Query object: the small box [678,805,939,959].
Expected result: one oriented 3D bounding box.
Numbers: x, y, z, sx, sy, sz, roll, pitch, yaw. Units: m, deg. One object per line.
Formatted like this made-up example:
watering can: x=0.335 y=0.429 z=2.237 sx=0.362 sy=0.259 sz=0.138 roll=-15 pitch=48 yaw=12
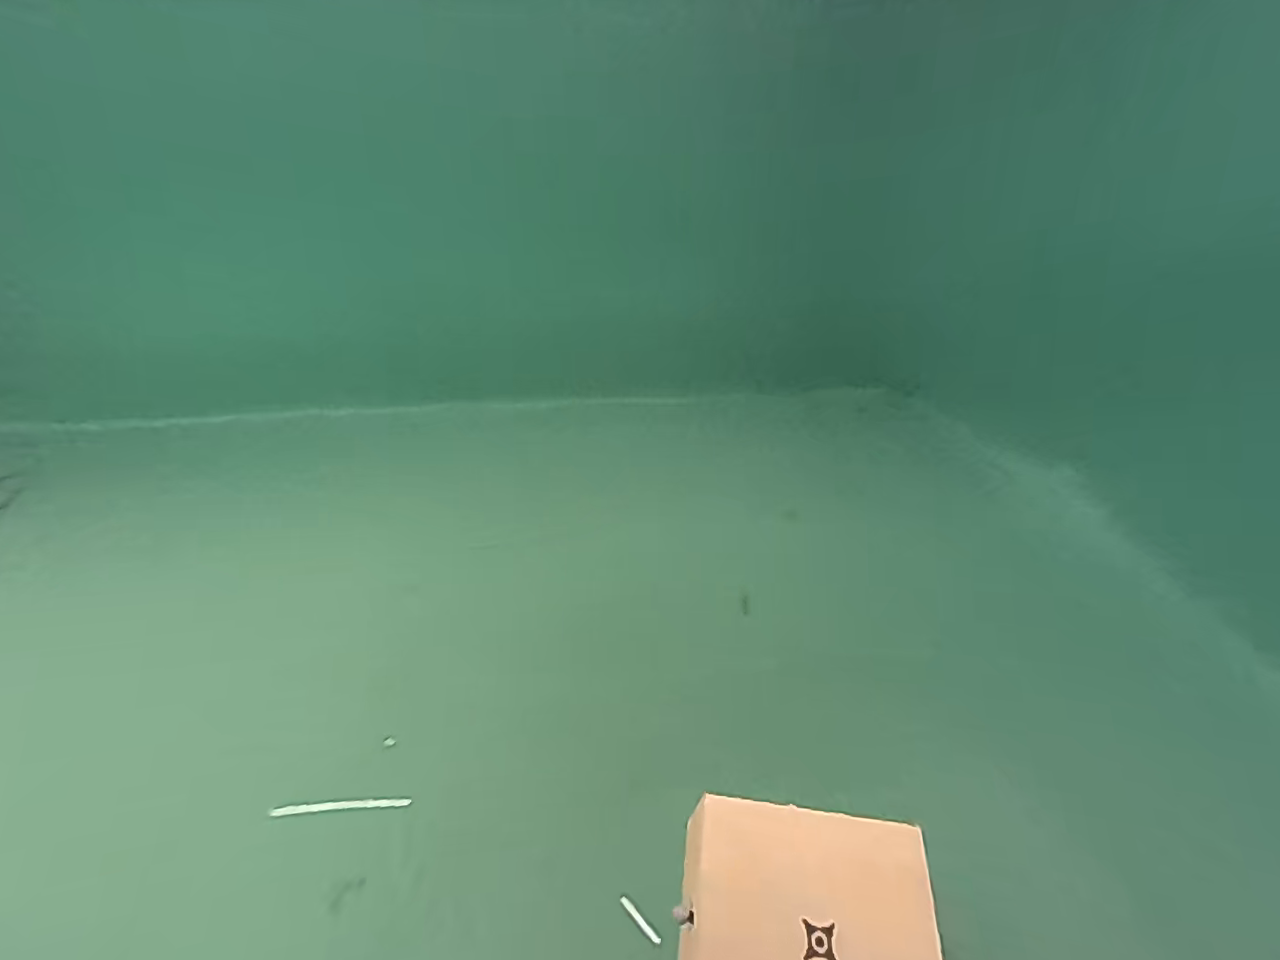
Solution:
small box: x=0.116 y=0.376 z=0.419 sx=0.168 sy=0.176 sz=0.179 roll=6 pitch=51 yaw=5
